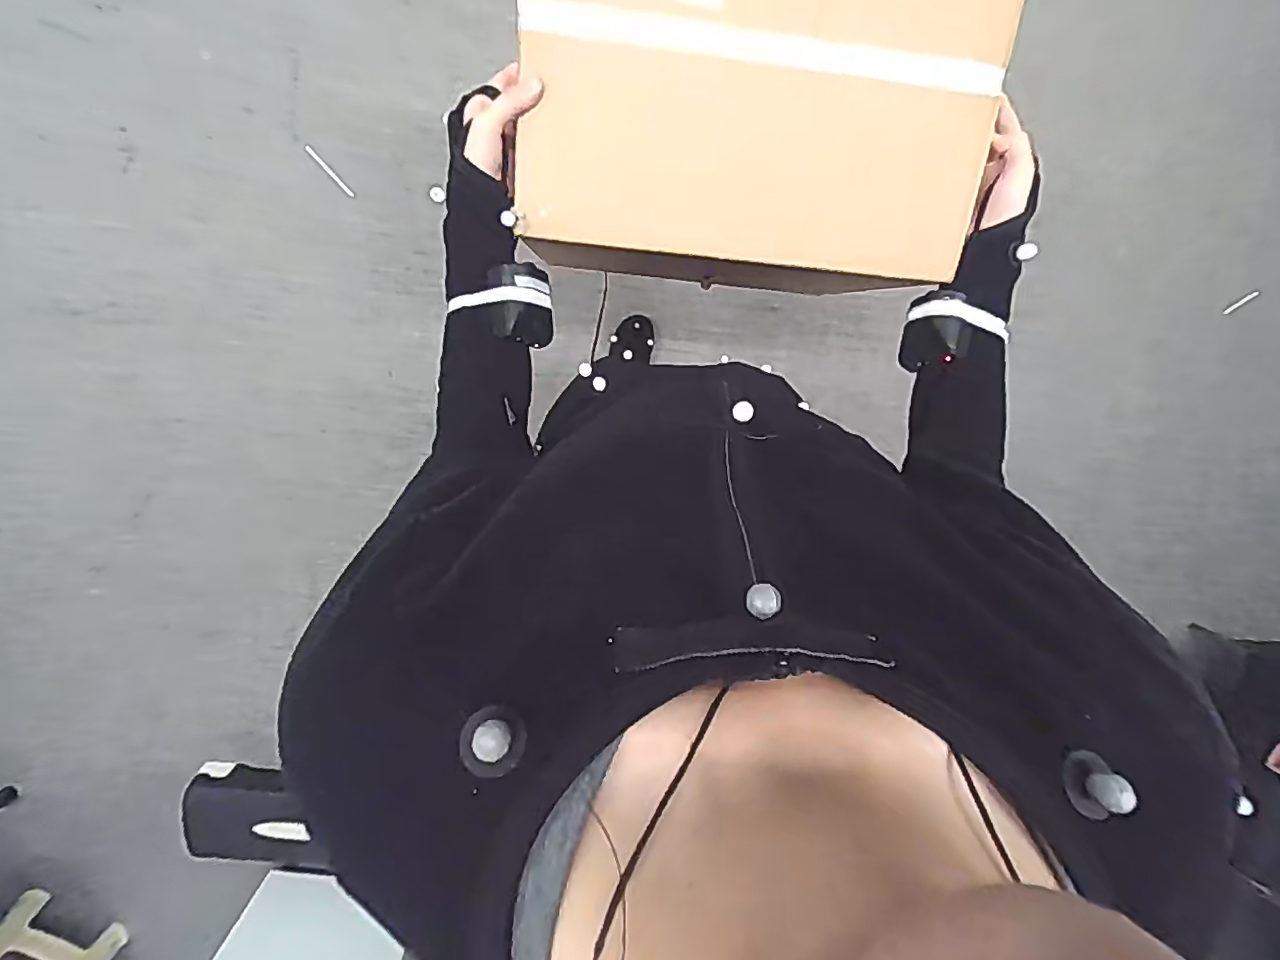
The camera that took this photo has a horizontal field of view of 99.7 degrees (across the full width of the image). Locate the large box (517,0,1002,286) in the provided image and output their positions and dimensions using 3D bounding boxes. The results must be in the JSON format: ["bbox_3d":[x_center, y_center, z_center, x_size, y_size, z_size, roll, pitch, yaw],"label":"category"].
[{"bbox_3d":[0.093,-0.395,0.598,0.408,0.320,0.320,4,106,-5],"label":"large box"}]
